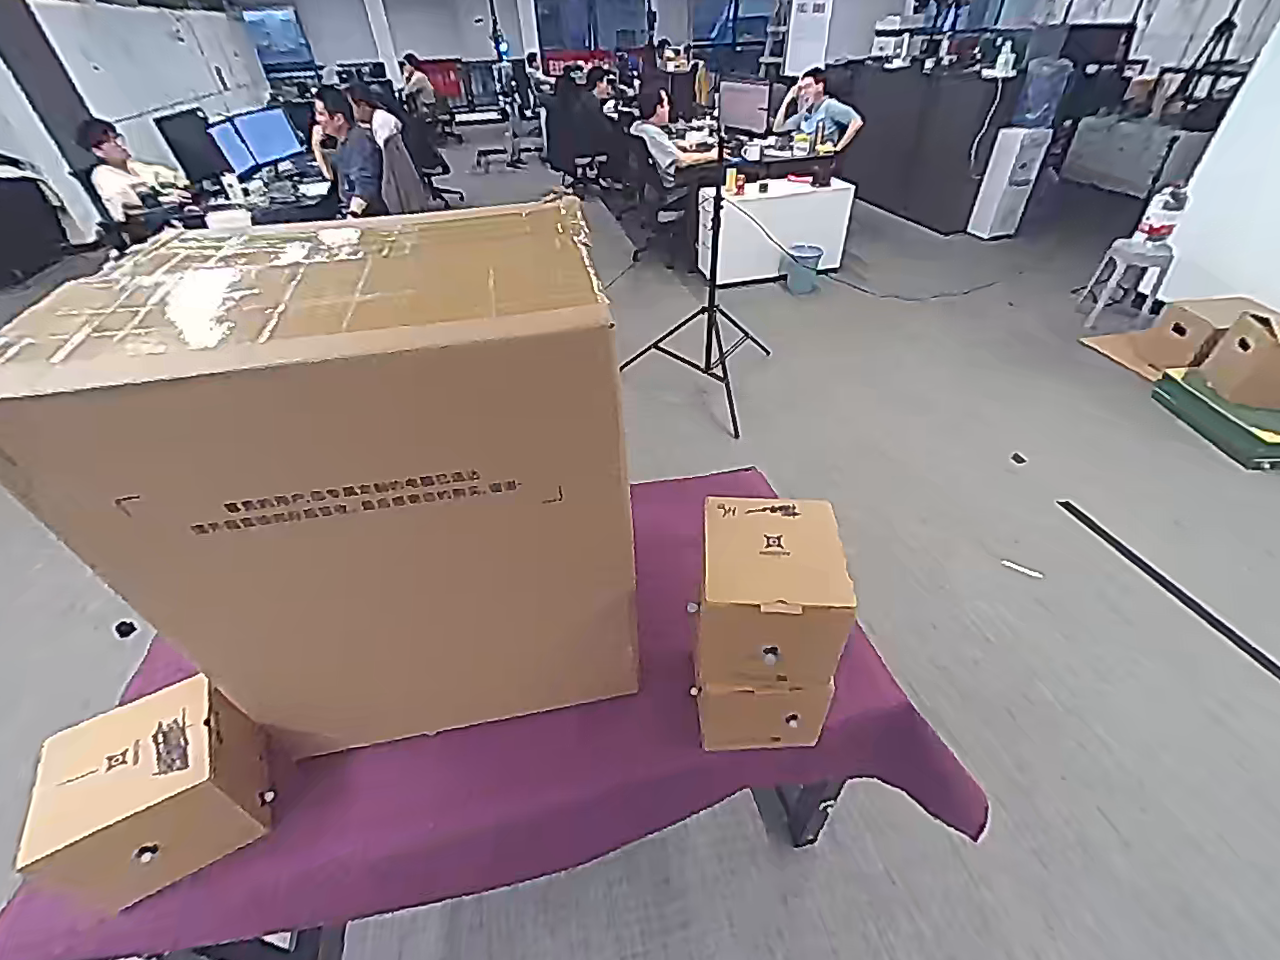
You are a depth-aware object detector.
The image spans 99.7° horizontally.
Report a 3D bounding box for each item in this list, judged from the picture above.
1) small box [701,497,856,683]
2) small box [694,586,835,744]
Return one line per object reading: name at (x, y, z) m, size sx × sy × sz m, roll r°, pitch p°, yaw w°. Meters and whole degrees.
small box at (0.166, 0.143, 0.702) m, size 0.168 × 0.176 × 0.179 m, roll 2°, pitch 41°, yaw 6°
small box at (0.171, 0.274, 0.801) m, size 0.168 × 0.176 × 0.179 m, roll -2°, pitch 38°, yaw 0°
